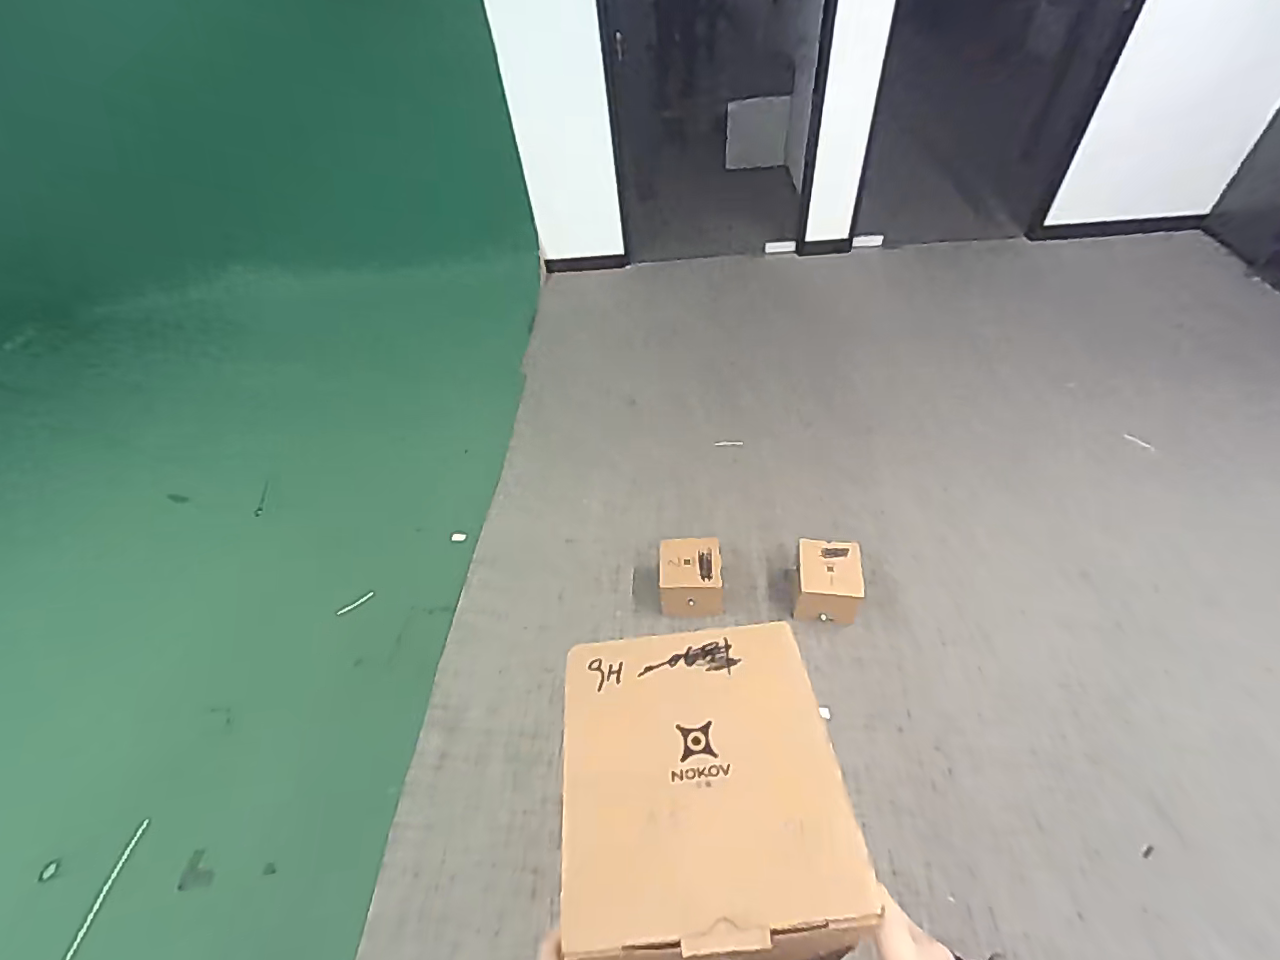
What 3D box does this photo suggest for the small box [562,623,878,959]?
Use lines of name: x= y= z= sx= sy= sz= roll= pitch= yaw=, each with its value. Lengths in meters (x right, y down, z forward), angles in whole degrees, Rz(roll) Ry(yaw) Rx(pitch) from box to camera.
small box: x=0.041 y=0.229 z=0.386 sx=0.168 sy=0.176 sz=0.179 roll=-5 pitch=43 yaw=-2

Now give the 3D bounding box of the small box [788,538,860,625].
small box: x=0.520 y=0.291 z=1.551 sx=0.168 sy=0.176 sz=0.179 roll=4 pitch=50 yaw=9
